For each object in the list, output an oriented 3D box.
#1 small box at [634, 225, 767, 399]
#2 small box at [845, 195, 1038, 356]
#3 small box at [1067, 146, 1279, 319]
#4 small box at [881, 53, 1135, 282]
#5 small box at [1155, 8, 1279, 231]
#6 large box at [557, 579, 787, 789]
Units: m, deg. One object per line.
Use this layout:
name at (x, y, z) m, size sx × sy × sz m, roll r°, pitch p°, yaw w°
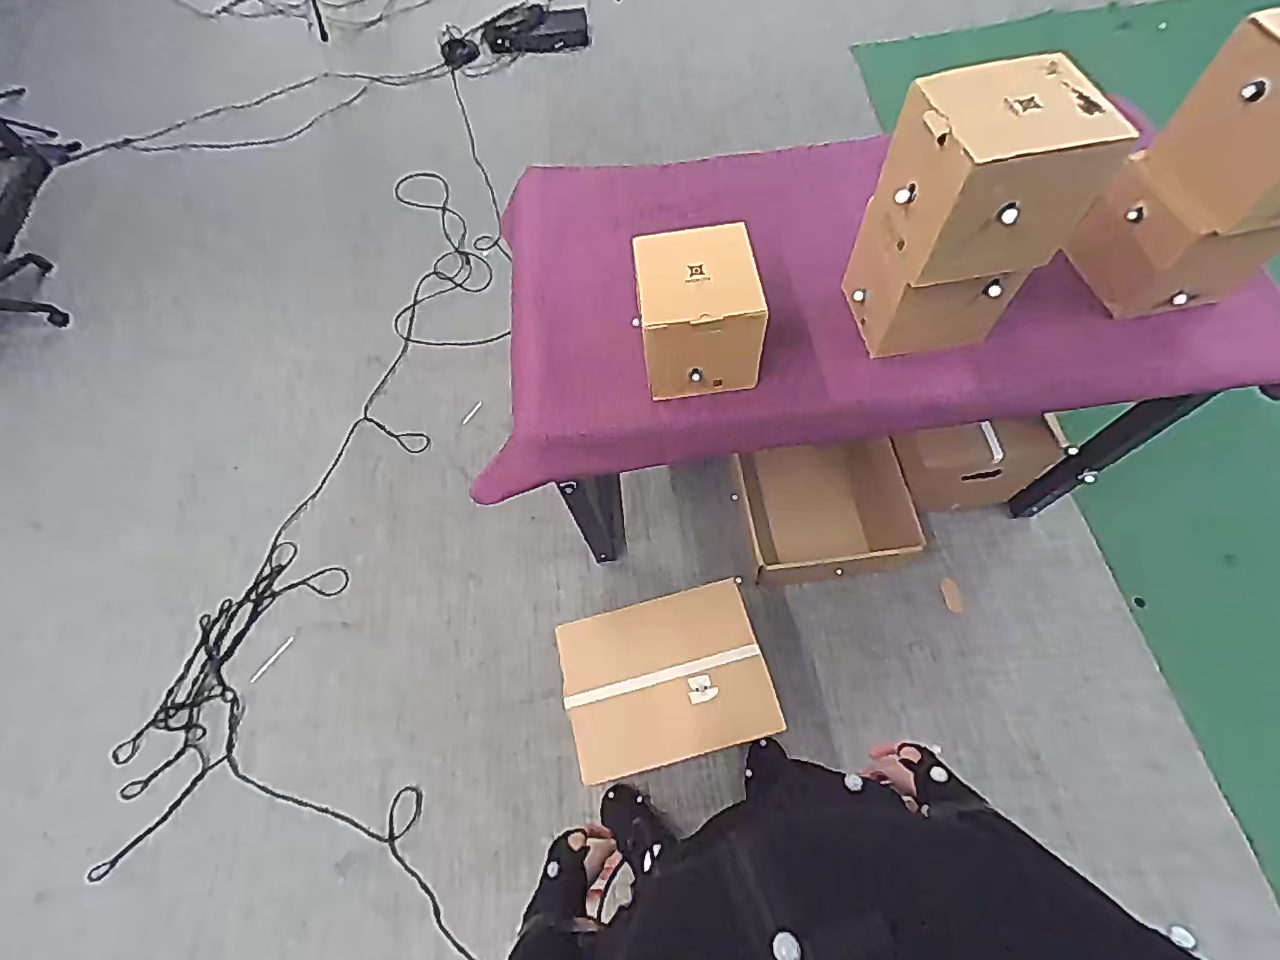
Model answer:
small box at (0.084, -0.246, 0.814) m, size 0.168 × 0.176 × 0.179 m, roll -7°, pitch 63°, yaw 2°
small box at (0.430, -0.309, 0.806) m, size 0.179 × 0.176 × 0.168 m, roll -9°, pitch 62°, yaw 2°
small box at (0.792, -0.370, 0.798) m, size 0.168 × 0.176 × 0.179 m, roll -11°, pitch 62°, yaw 2°
small box at (0.413, -0.365, 0.652) m, size 0.179 × 0.176 × 0.168 m, roll -10°, pitch 62°, yaw 2°
small box at (0.793, -0.435, 0.646) m, size 0.168 × 0.176 × 0.179 m, roll -11°, pitch 63°, yaw 3°
large box at (0.064, 0.461, 1.212) m, size 0.408 × 0.320 × 0.320 m, roll -15°, pitch 63°, yaw -2°
